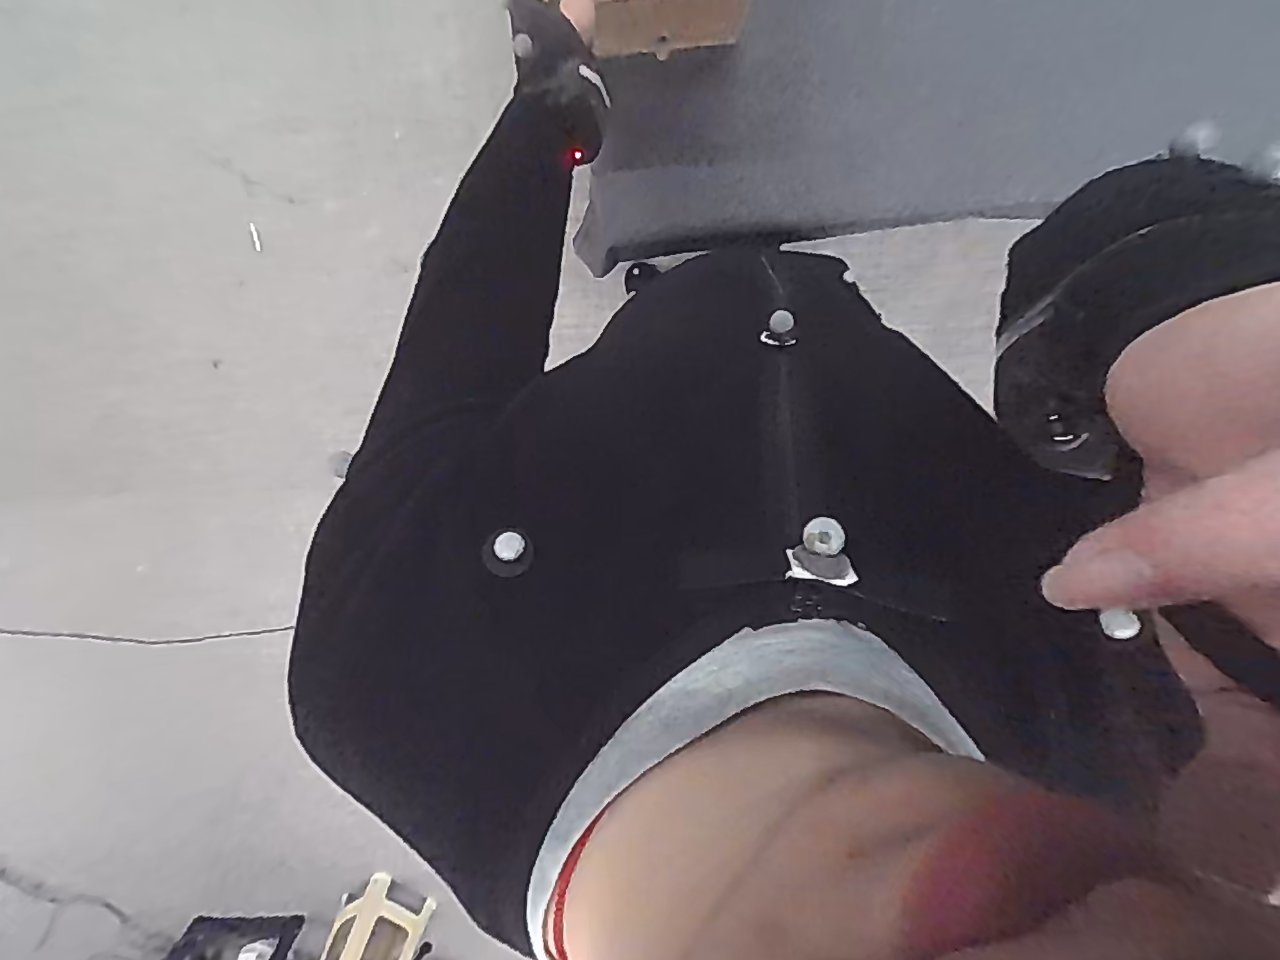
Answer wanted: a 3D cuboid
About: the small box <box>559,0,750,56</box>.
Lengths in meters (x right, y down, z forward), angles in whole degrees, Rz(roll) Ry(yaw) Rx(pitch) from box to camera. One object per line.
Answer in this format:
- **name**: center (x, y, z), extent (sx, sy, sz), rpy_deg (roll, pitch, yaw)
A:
- **small box**: center (0.012, -0.532, 0.514), extent (0.179, 0.176, 0.168), rpy_deg (-3, 115, 4)
